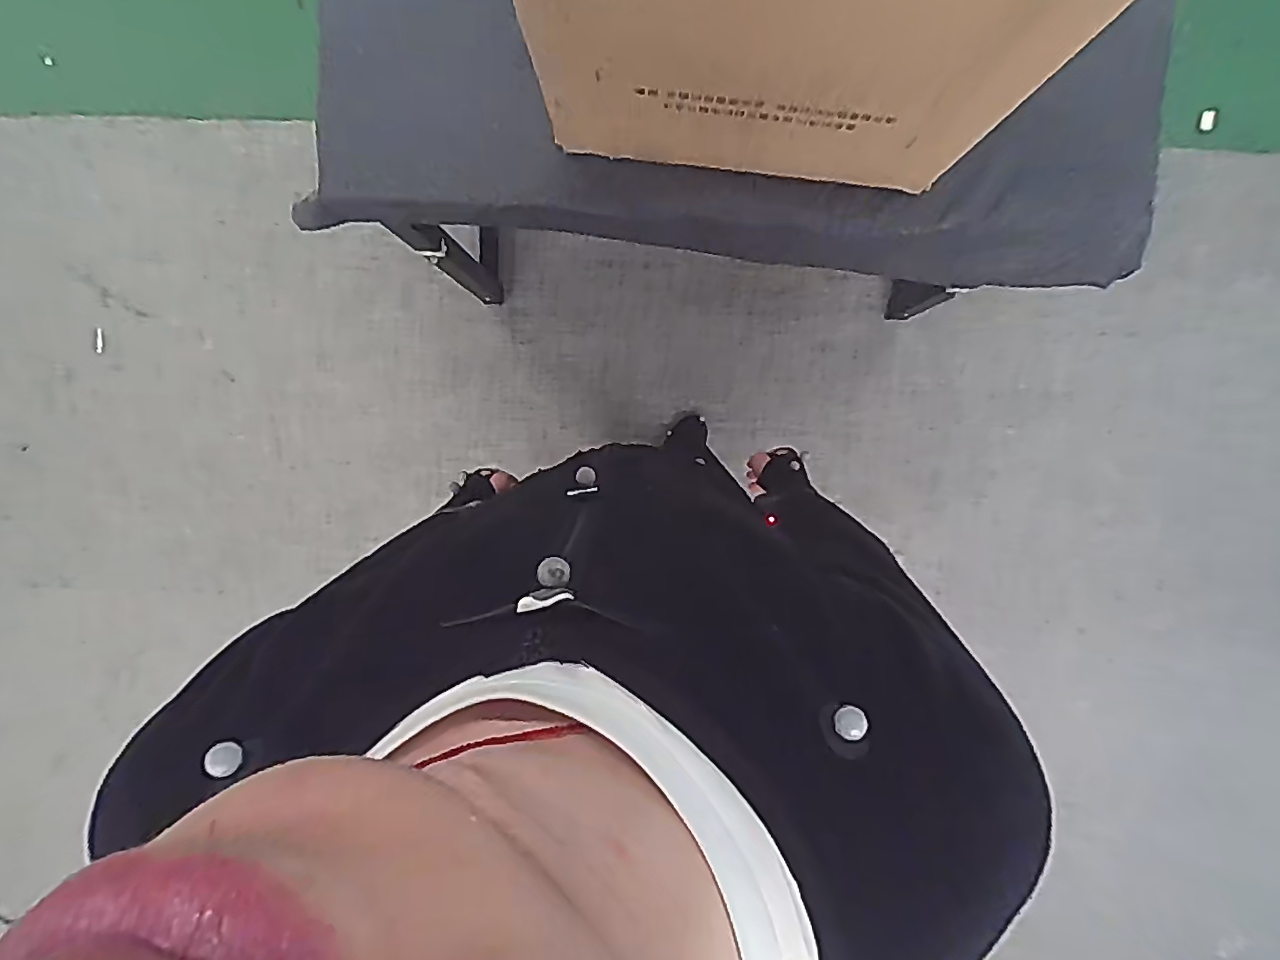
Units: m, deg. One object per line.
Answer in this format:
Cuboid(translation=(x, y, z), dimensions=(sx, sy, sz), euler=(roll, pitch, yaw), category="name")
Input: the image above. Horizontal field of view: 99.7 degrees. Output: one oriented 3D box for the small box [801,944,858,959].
Cuboid(translation=(0.600, 1.584, 1.672), dimensions=(0.179, 0.176, 0.168), euler=(0, 95, -1), category="small box")
